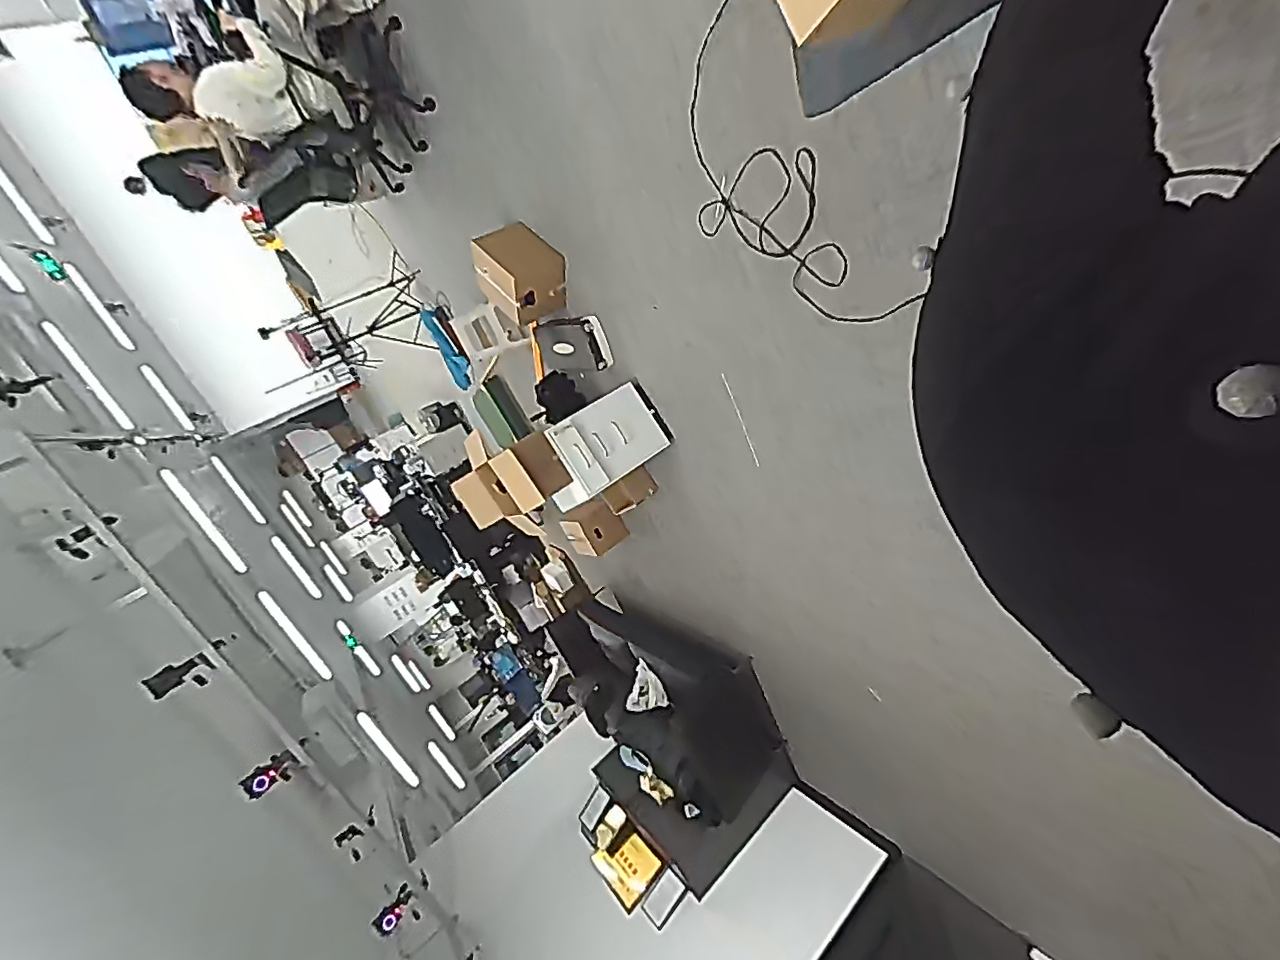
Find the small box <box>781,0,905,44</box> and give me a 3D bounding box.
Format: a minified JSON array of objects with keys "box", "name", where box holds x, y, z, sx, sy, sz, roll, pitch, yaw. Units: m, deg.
[{"box":[0.228,-0.572,0.508,0.168,0.176,0.179,60,155,-10],"name":"small box"}]
